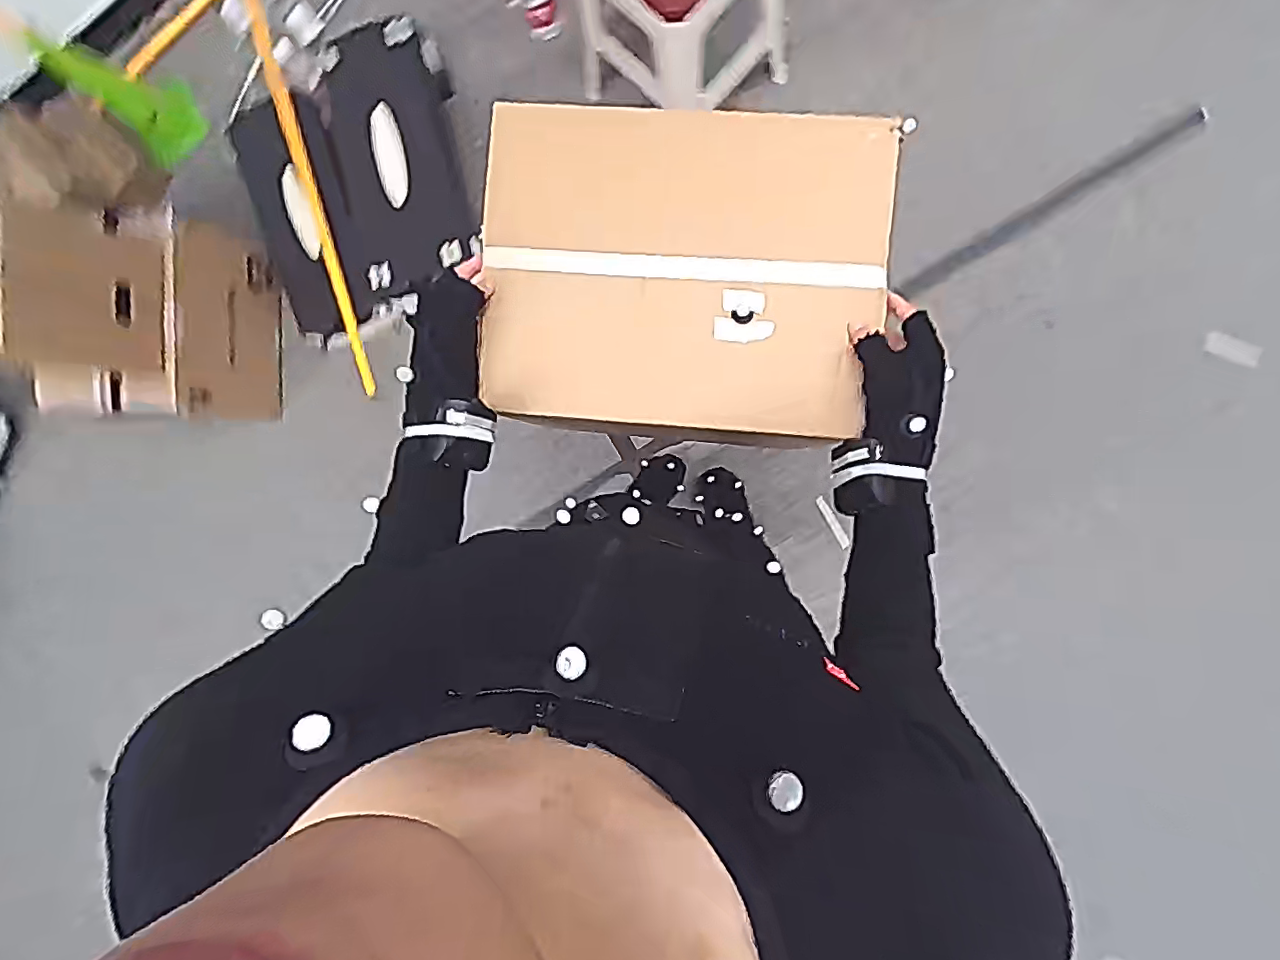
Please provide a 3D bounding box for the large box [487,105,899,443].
[{"bbox_3d":[0.056,-0.224,0.701,0.408,0.320,0.320,6,92,4],"label":"large box"}]
